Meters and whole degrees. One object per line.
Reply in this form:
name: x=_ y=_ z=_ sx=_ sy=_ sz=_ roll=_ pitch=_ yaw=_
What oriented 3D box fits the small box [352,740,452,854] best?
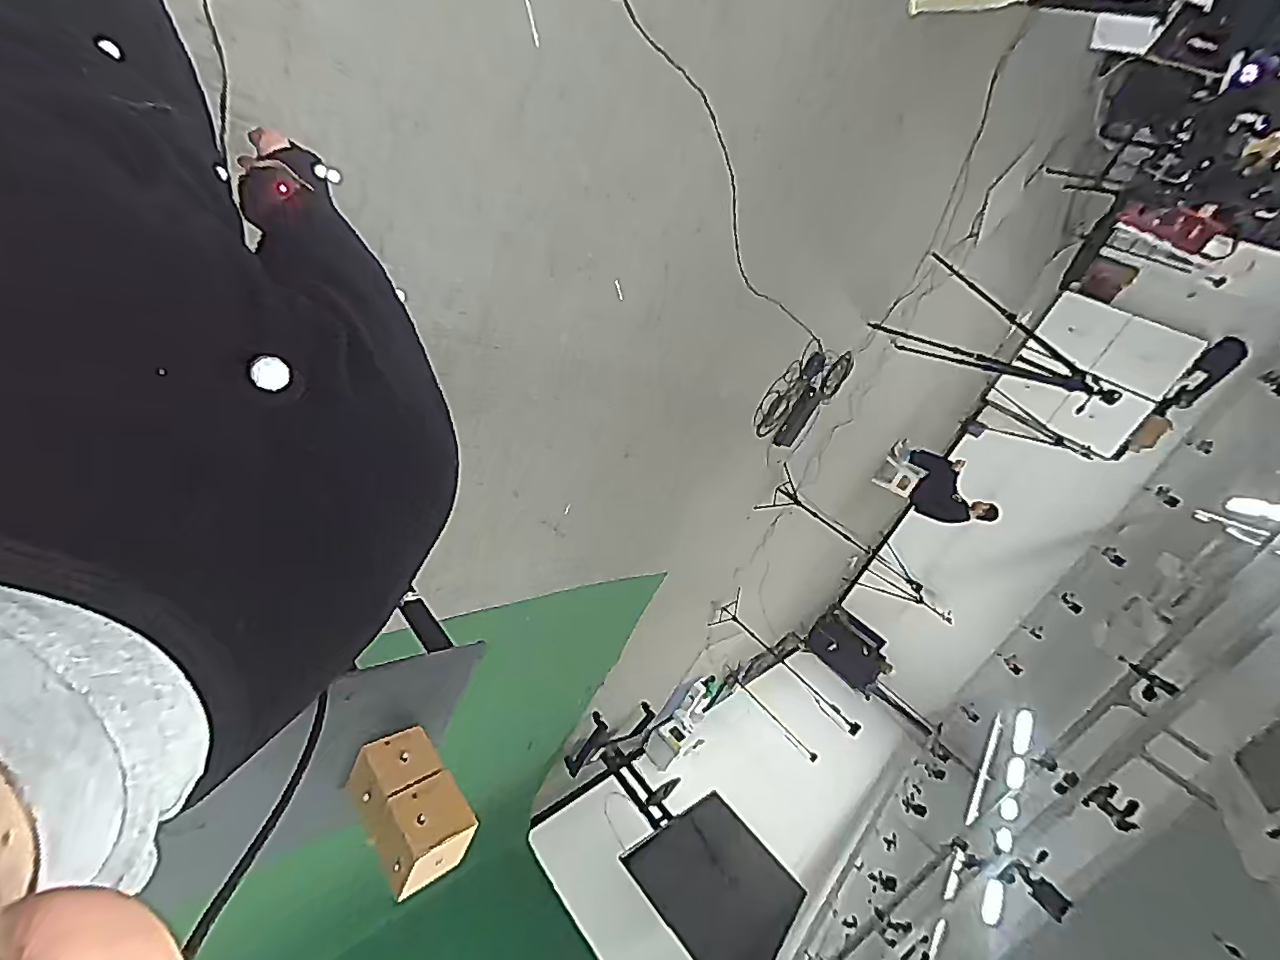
small box: x=-0.632 y=0.822 z=1.427 sx=0.168 sy=0.176 sz=0.179 roll=1 pitch=121 yaw=-51

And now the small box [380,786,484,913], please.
small box: x=-0.519 y=0.896 z=1.337 sx=0.168 sy=0.176 sz=0.179 roll=-2 pitch=124 yaw=-50
